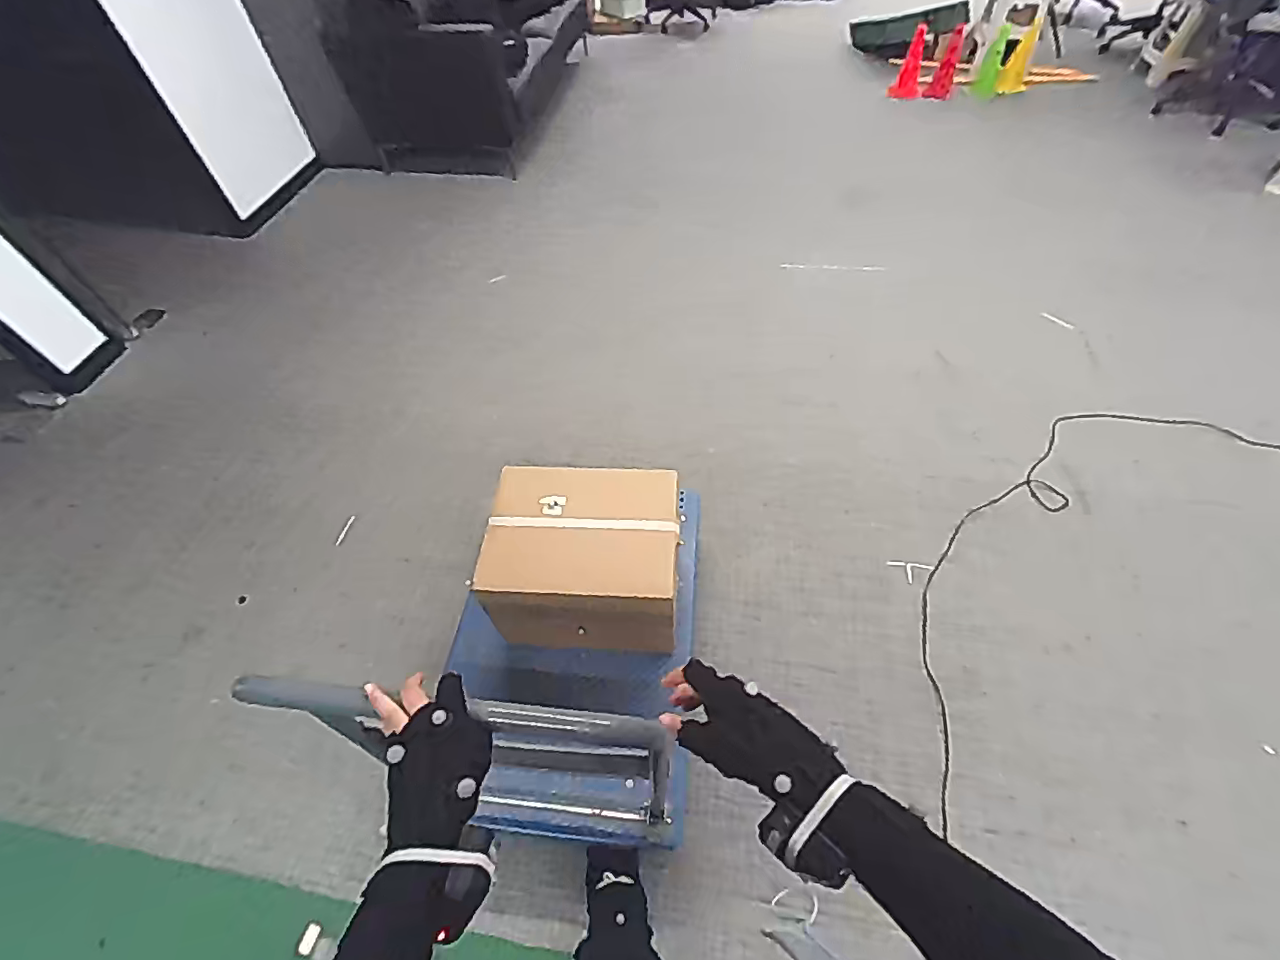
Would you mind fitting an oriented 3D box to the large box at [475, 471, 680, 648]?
[{"bbox_3d":[-0.111,0.191,1.267,0.408,0.320,0.320,1,53,6],"label":"large box"}]
